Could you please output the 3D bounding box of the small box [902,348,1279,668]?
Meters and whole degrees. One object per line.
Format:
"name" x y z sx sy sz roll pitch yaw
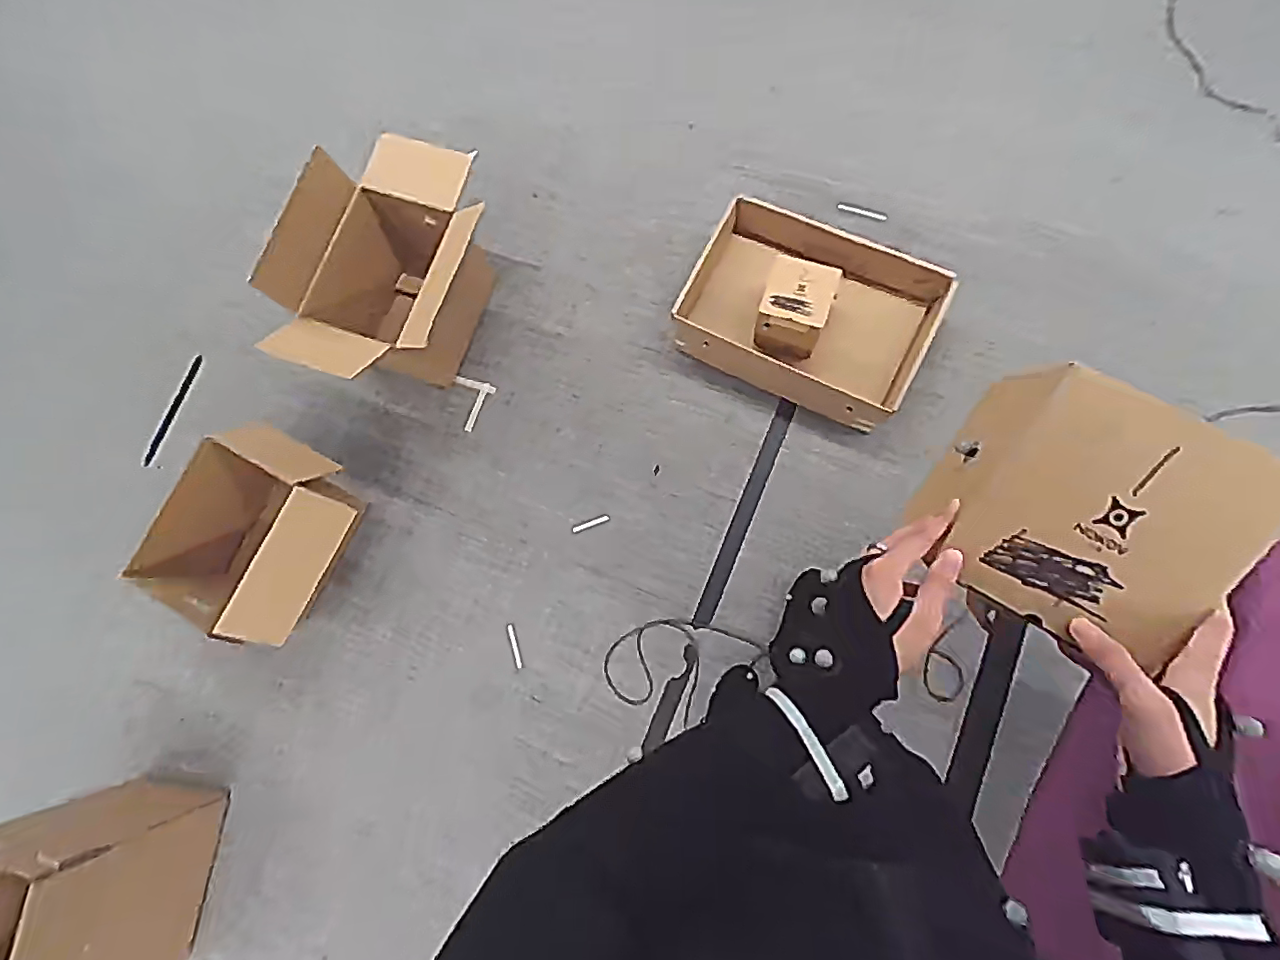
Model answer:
"small box" 0.345 0.012 0.454 0.168 0.176 0.179 30 104 11
